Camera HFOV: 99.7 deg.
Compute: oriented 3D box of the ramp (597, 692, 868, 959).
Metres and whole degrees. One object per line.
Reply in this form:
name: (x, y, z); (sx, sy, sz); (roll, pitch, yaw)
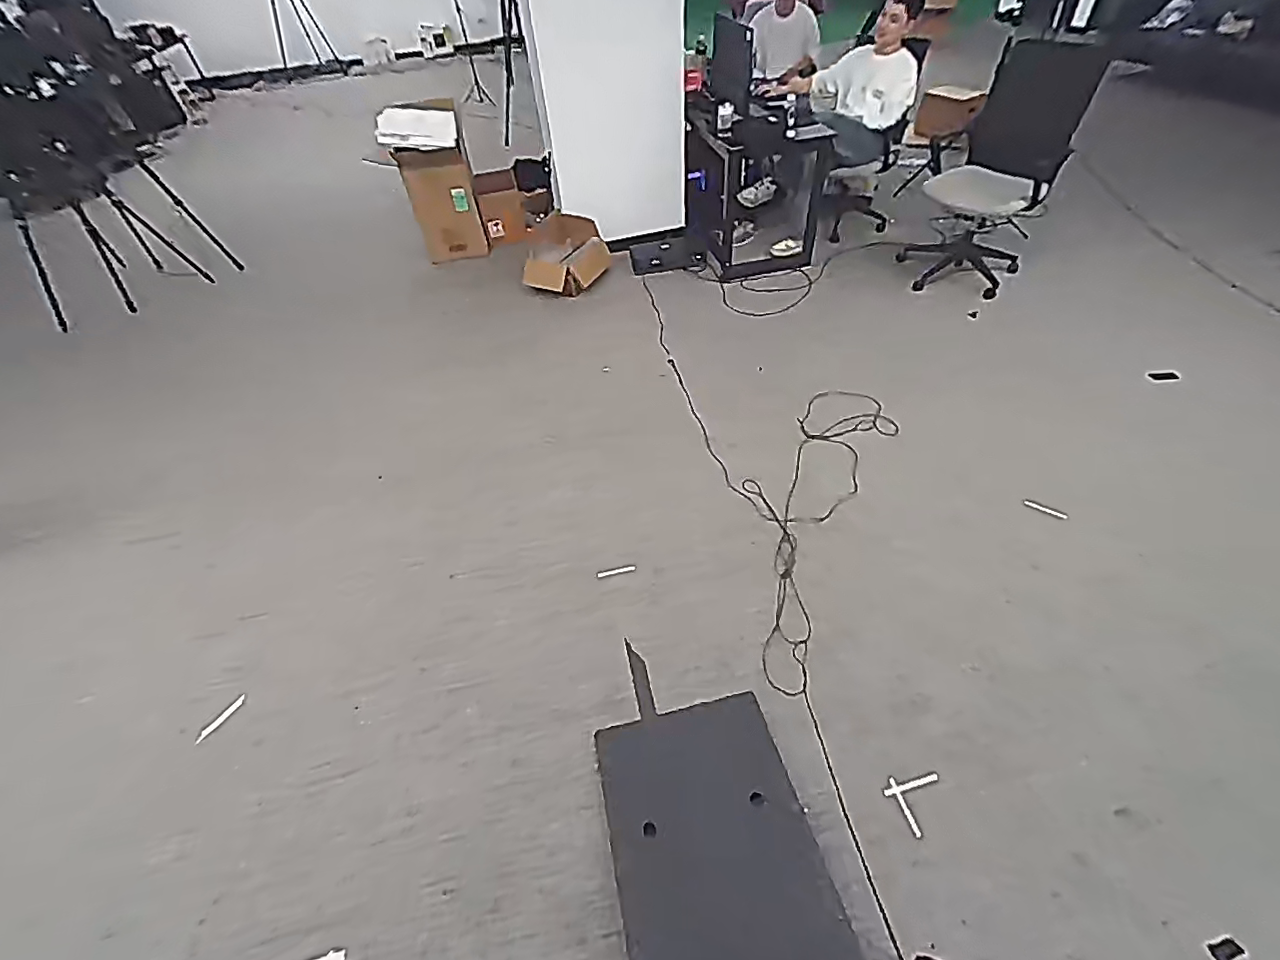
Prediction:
ramp: (0.210, 0.981, 1.216); (0.509, 0.206, 0.991); (-15, 48, -6)
